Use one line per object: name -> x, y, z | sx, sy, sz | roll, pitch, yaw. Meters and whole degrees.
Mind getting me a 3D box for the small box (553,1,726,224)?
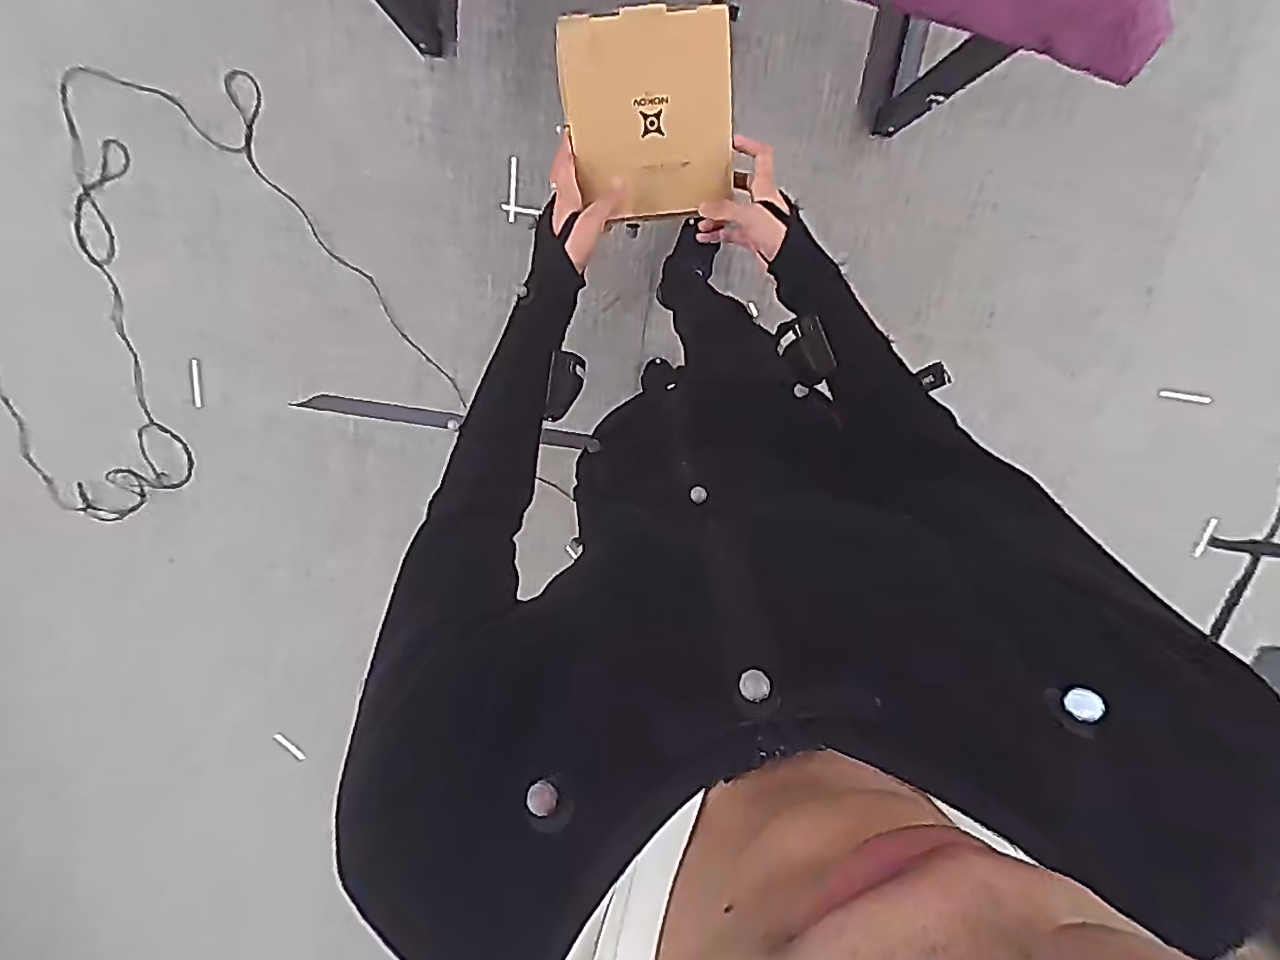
small box -> -0.006, -0.395, 0.611 | 0.168, 0.176, 0.179 | -8, 114, -4
